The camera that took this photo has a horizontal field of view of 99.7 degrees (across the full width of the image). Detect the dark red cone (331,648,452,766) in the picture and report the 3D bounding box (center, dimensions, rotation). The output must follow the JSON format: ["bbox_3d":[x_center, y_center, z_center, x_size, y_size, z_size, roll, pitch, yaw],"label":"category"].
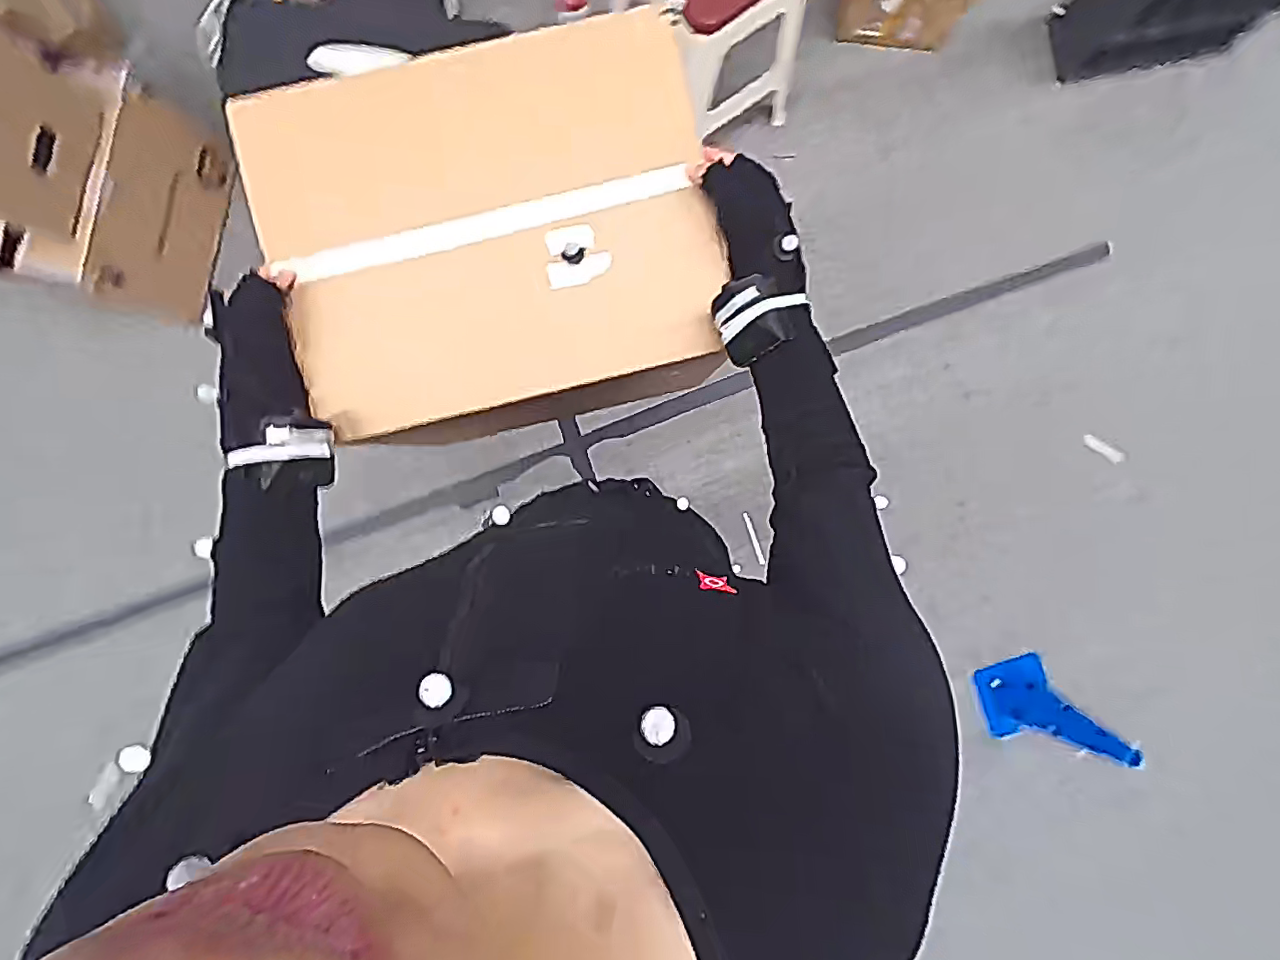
[{"bbox_3d":[-0.608,0.561,1.277,0.201,0.394,0.202,-14,90,-2],"label":"dark red cone"}]

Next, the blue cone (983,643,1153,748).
[{"bbox_3d":[1.061,0.562,1.336,0.192,0.380,0.193,-17,90,-2],"label":"blue cone"}]

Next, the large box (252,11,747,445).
[{"bbox_3d":[-0.131,-0.239,0.645,0.408,0.320,0.320,-14,93,-1],"label":"large box"}]
